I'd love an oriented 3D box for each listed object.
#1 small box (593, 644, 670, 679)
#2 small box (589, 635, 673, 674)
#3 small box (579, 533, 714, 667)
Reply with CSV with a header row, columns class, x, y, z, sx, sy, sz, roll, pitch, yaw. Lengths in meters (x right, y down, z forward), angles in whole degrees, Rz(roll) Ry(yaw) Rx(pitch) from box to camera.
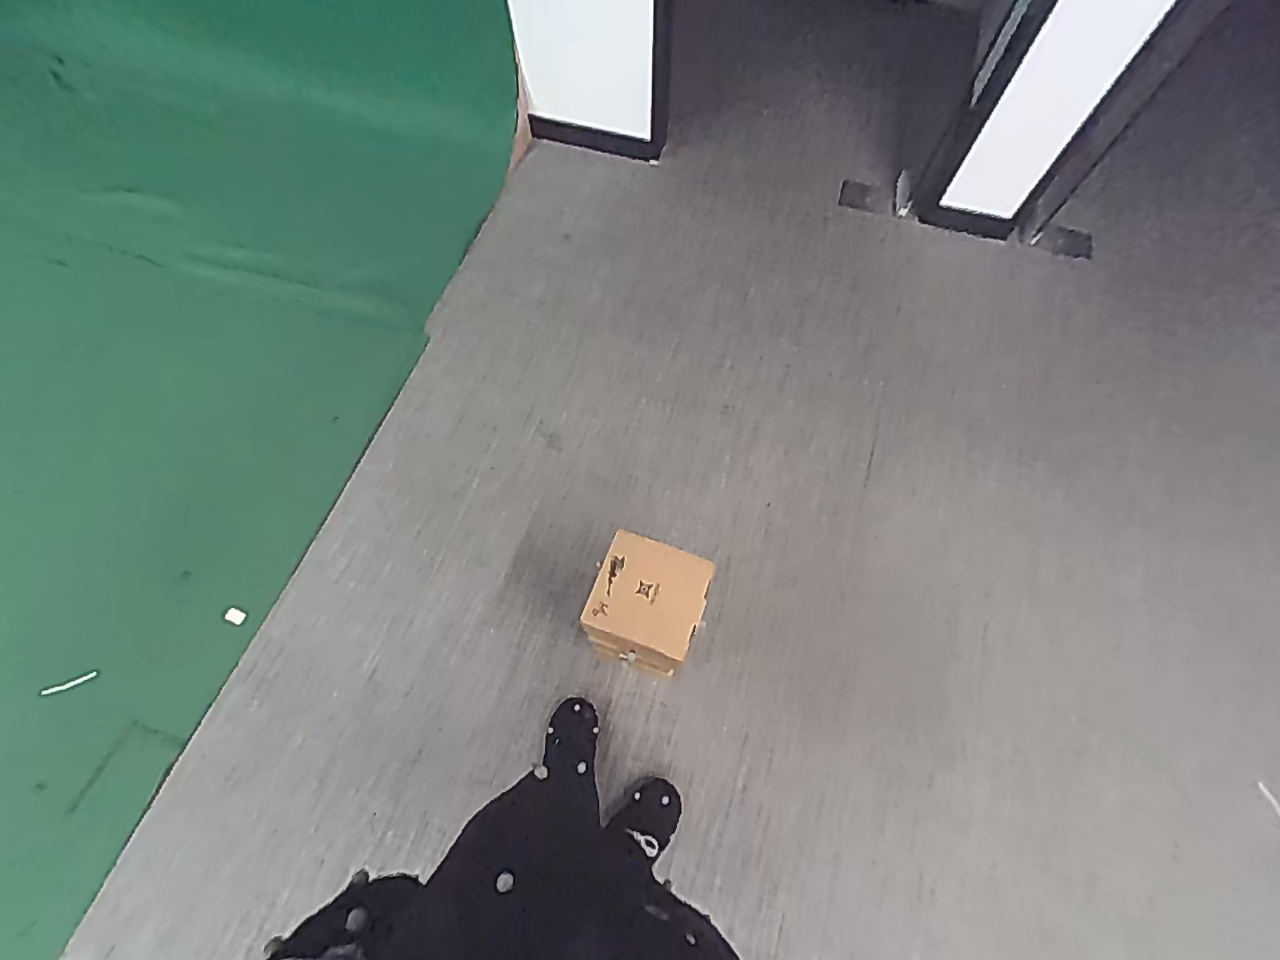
class,x,y,z,sx,sy,sz,roll,pitch,yaw
small box,0.007,0.353,1.253,0.179,0.176,0.168,18,69,7
small box,0.009,0.277,1.091,0.168,0.176,0.179,17,69,9
small box,0.014,0.216,0.940,0.179,0.176,0.168,19,68,9
